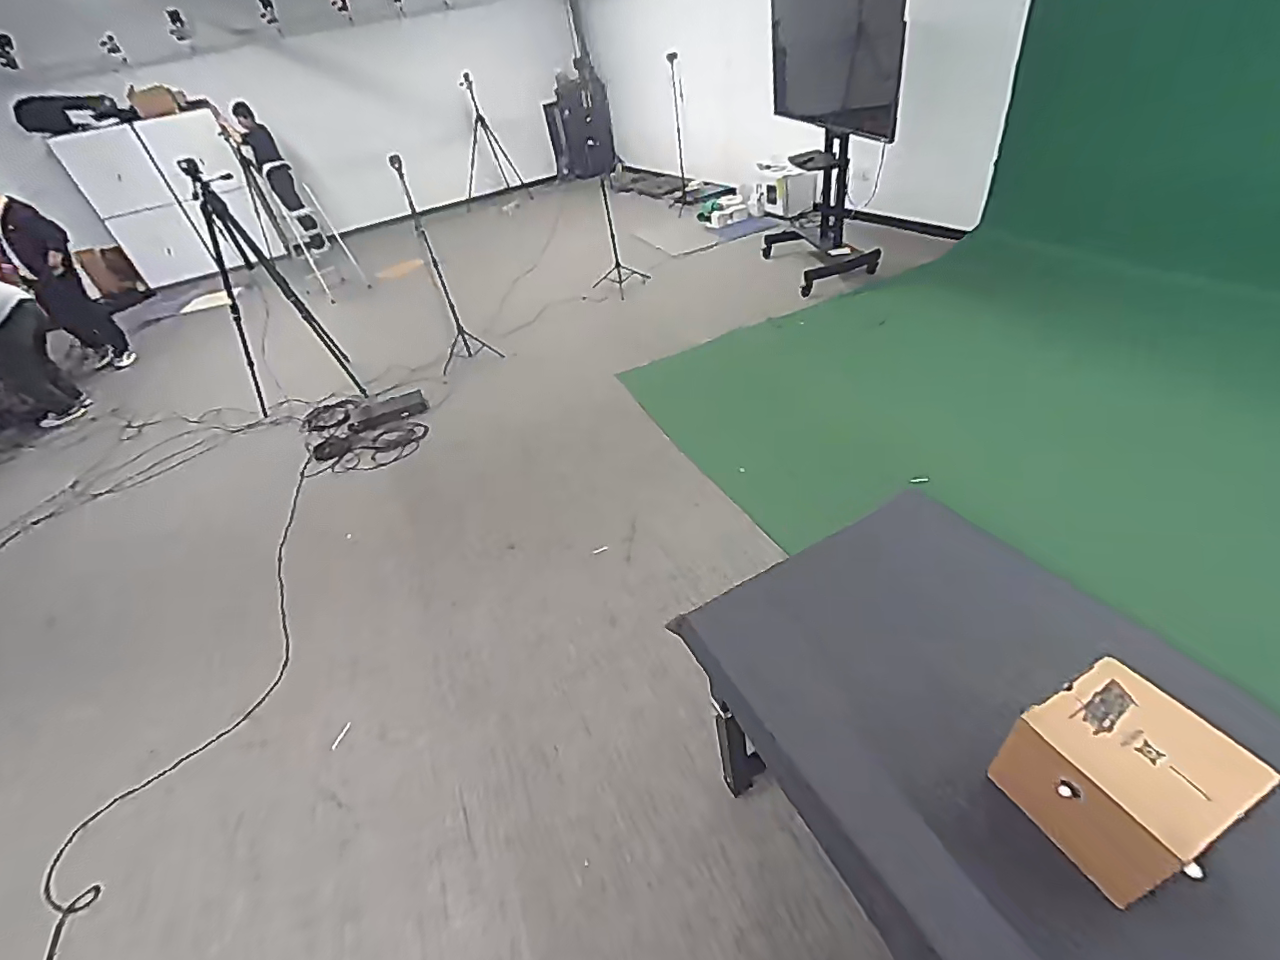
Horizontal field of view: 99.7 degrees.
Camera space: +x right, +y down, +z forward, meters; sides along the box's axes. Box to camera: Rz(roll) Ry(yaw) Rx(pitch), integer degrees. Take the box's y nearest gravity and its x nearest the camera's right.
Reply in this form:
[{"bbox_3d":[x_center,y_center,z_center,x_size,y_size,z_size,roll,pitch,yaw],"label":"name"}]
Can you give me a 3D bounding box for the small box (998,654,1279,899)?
[{"bbox_3d":[0.584,0.357,0.660,0.168,0.176,0.179,-24,41,-14],"label":"small box"}]
